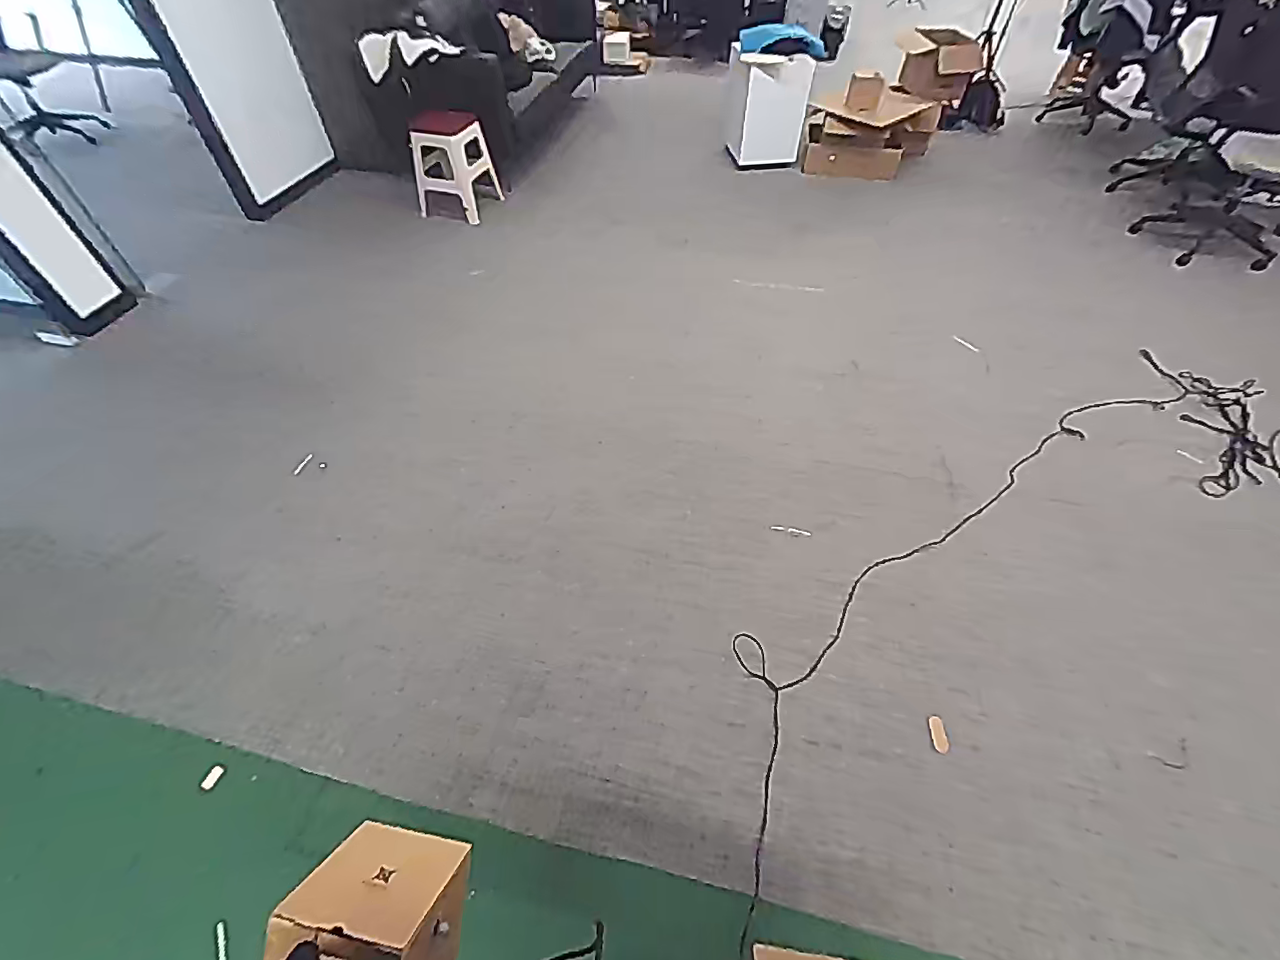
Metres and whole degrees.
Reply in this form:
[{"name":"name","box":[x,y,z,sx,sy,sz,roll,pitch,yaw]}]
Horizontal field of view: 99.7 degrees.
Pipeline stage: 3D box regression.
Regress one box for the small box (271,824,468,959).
[{"name":"small box","box":[-0.343,0.588,0.687,0.168,0.179,0.176,7,92,7]}]
